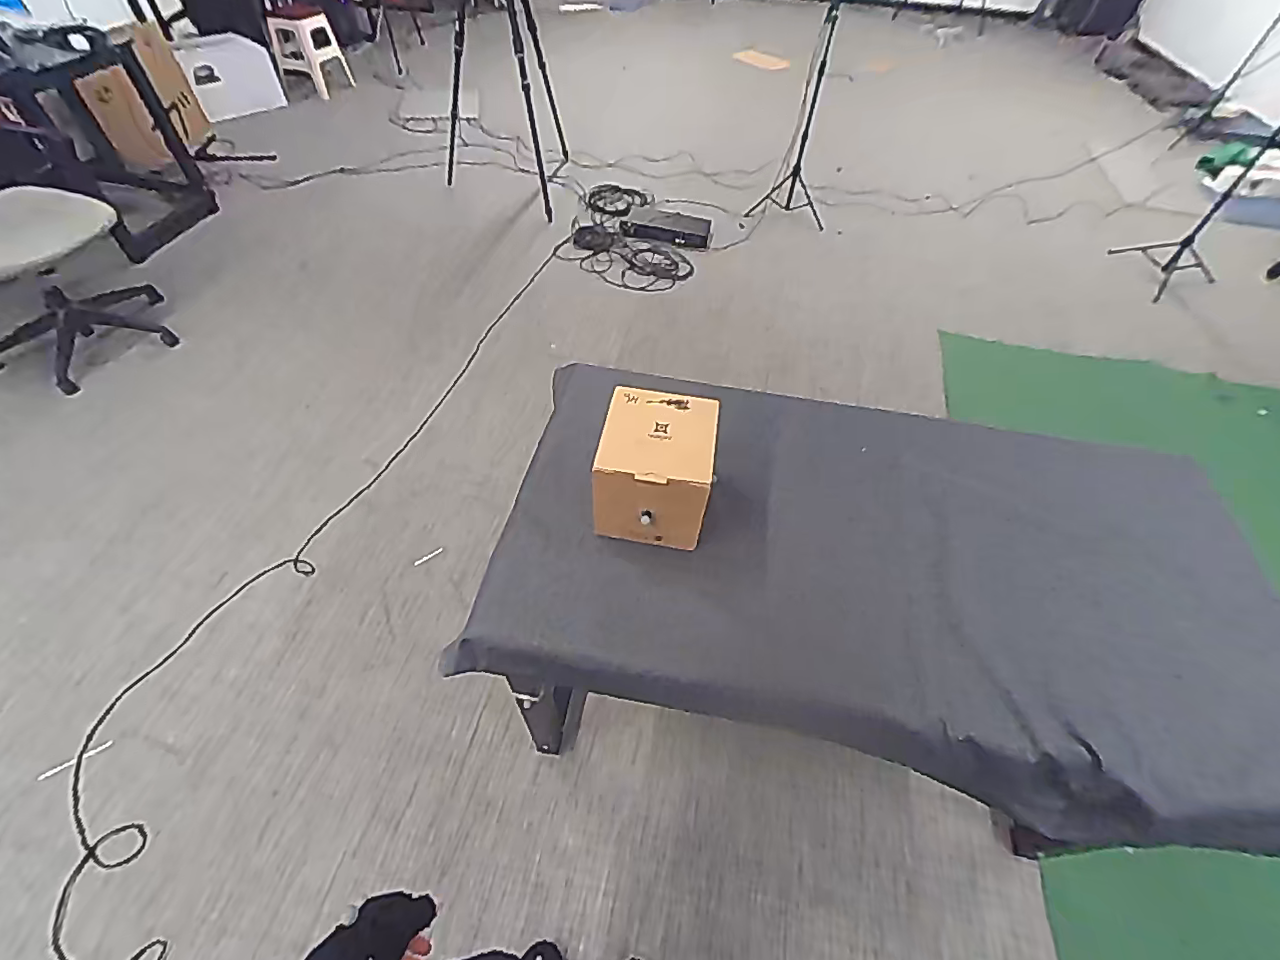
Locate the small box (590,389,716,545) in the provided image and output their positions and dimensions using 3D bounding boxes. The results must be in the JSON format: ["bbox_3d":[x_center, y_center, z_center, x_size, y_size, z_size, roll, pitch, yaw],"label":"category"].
[{"bbox_3d":[0.023,-0.017,0.858,0.168,0.176,0.179,9,52,4],"label":"small box"}]
